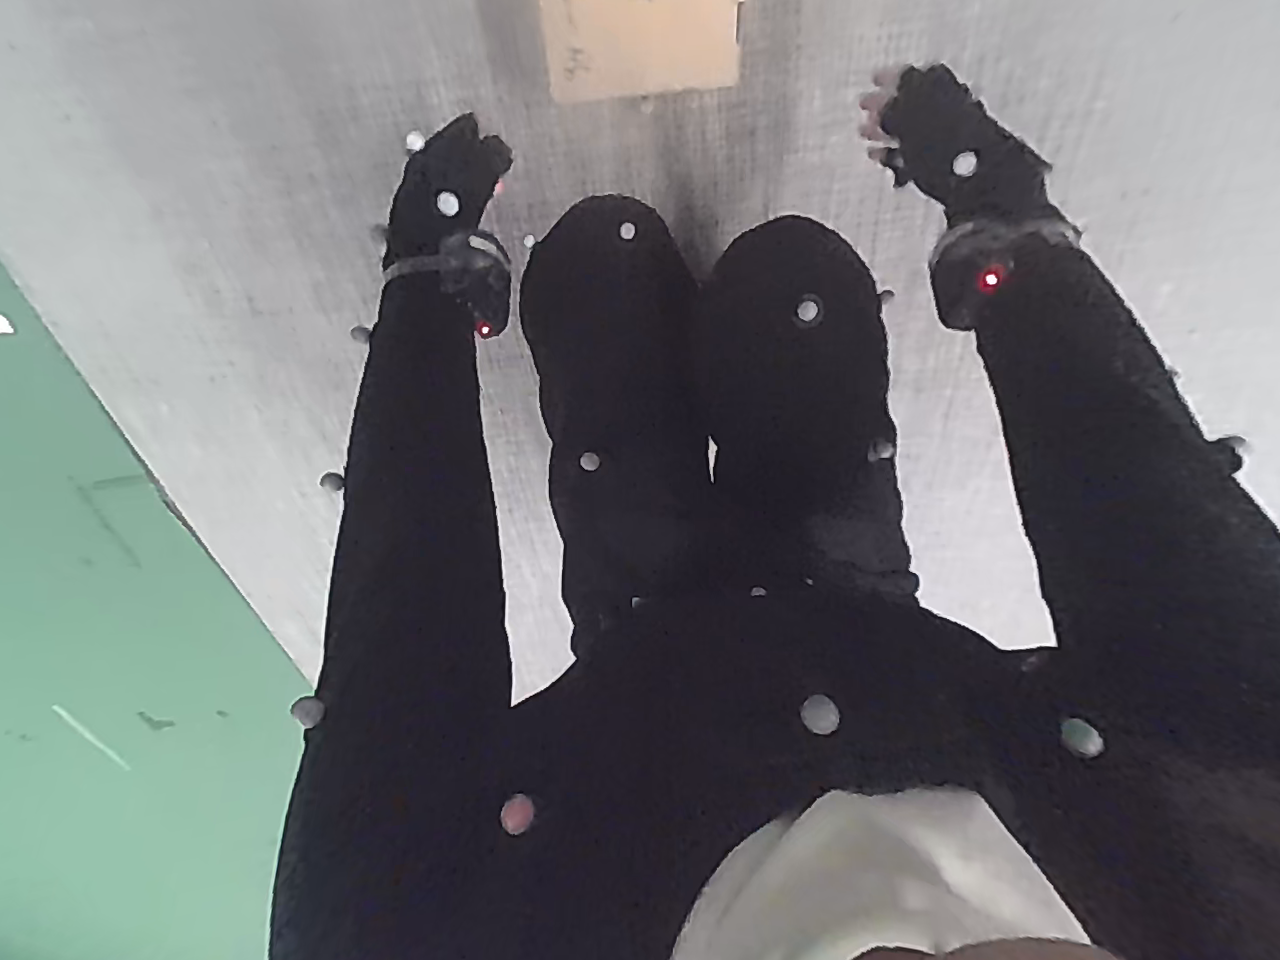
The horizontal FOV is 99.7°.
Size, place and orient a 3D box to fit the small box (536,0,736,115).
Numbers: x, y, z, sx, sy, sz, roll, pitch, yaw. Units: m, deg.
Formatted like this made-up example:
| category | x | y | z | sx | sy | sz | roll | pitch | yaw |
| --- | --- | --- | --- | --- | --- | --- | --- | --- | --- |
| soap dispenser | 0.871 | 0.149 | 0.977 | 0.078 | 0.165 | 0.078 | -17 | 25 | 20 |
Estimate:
| category | x | y | z | sx | sy | sz | roll | pitch | yaw |
| --- | --- | --- | --- | --- | --- | --- | --- | --- | --- |
| small box | -0.004 | -0.465 | 0.530 | 0.179 | 0.176 | 0.168 | -3 | 125 | 3 |
